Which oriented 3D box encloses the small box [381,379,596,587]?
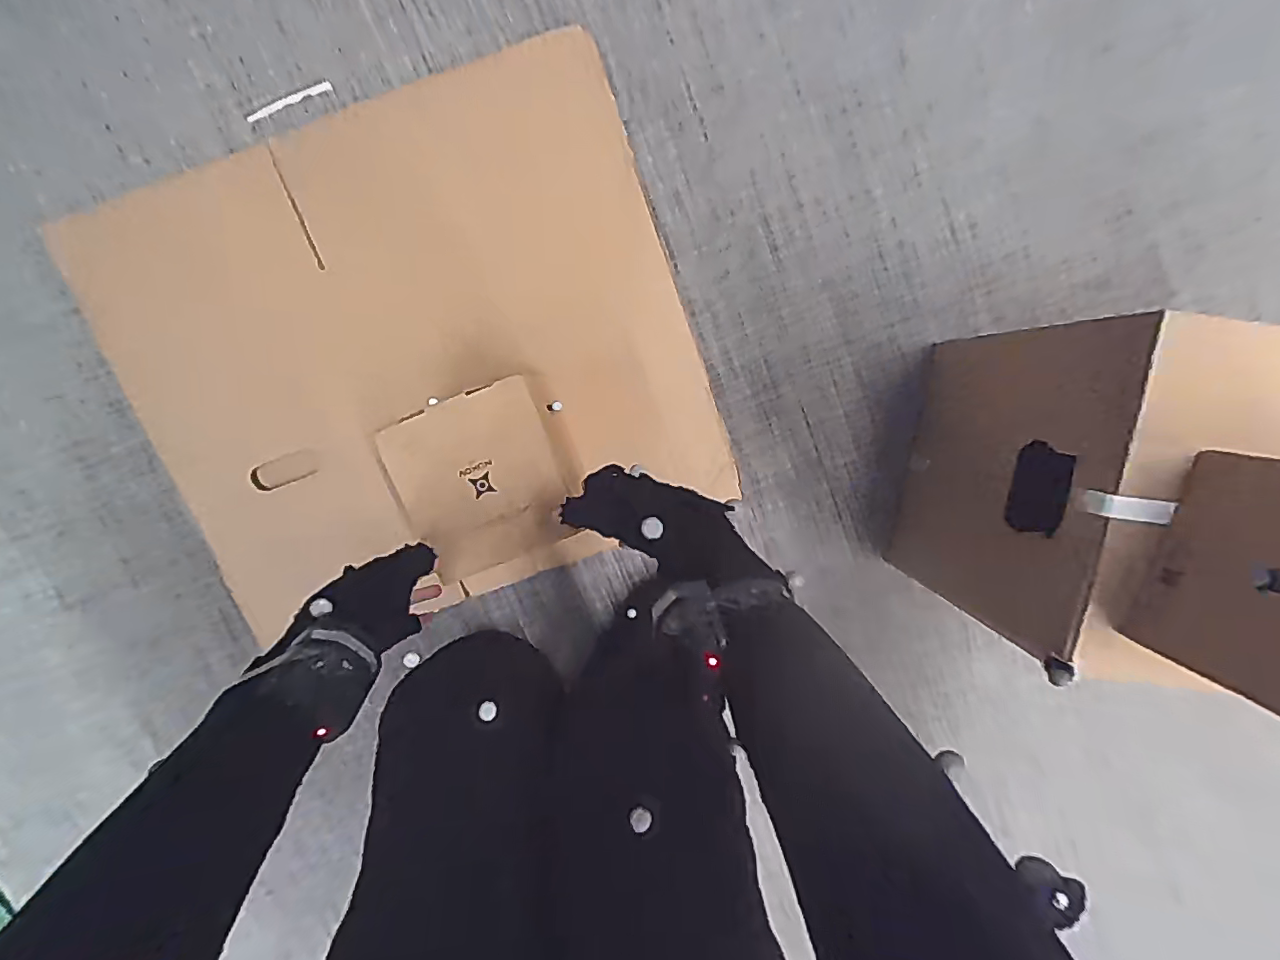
[{"bbox_3d":[-0.160,-0.006,0.636,0.168,0.176,0.179,-22,100,3],"label":"small box"}]

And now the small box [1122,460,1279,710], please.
[{"bbox_3d":[0.505,0.085,0.378,0.179,0.176,0.168,11,97,-4],"label":"small box"}]
